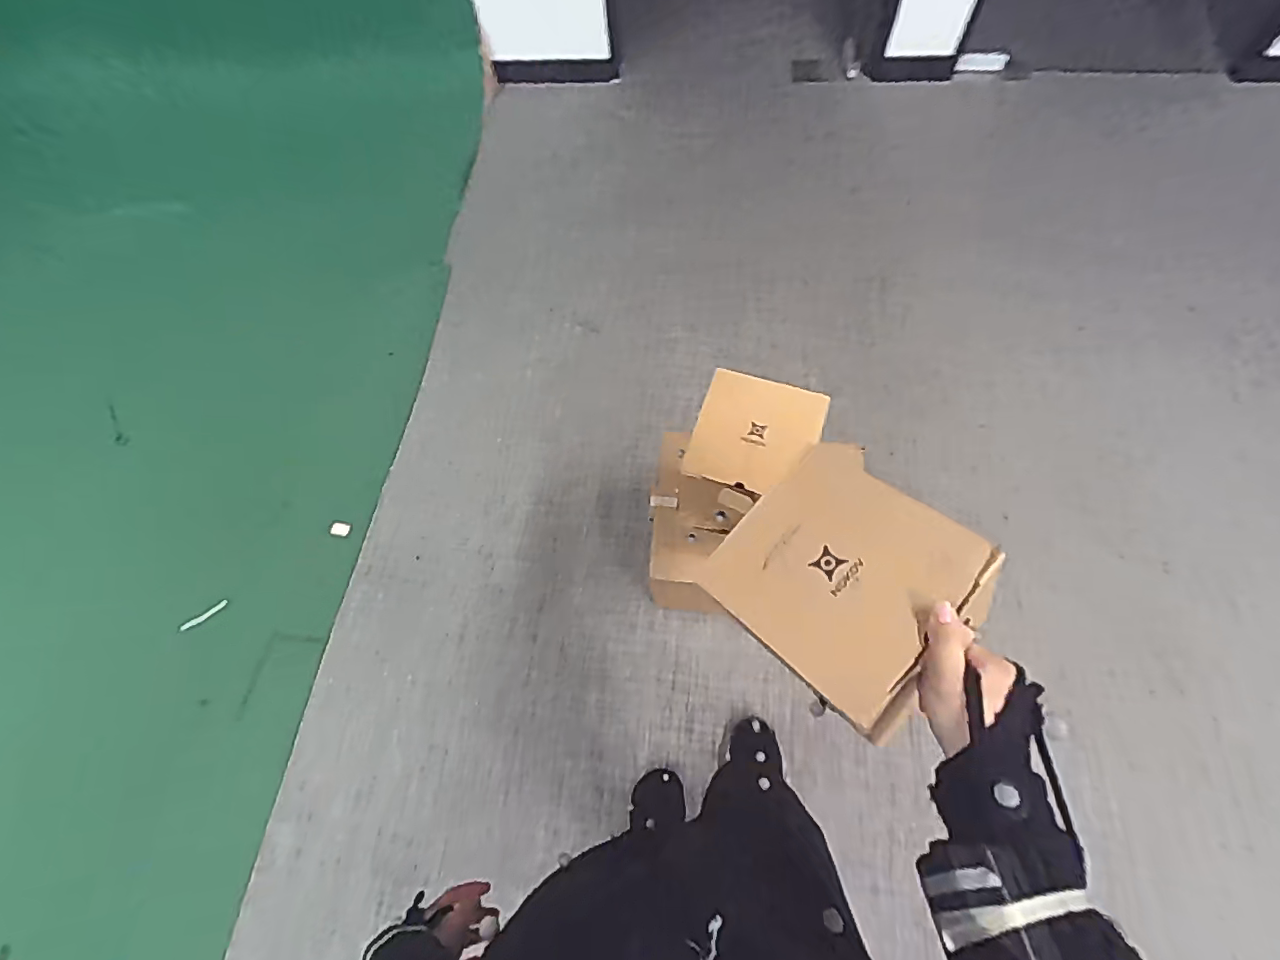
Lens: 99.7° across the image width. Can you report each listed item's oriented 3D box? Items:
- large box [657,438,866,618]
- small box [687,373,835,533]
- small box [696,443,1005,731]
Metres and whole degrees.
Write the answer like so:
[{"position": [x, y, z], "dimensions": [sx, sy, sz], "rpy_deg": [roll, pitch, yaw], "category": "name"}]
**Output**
[{"position": [0.246, 0.123, 1.176], "dimensions": [0.408, 0.320, 0.320], "rpy_deg": [4, 68, 5], "category": "large box"}, {"position": [0.169, -0.024, 0.801], "dimensions": [0.168, 0.176, 0.179], "rpy_deg": [17, 69, 11], "category": "small box"}, {"position": [0.187, 0.103, 0.492], "dimensions": [0.168, 0.176, 0.179], "rpy_deg": [-48, 51, -6], "category": "small box"}]
